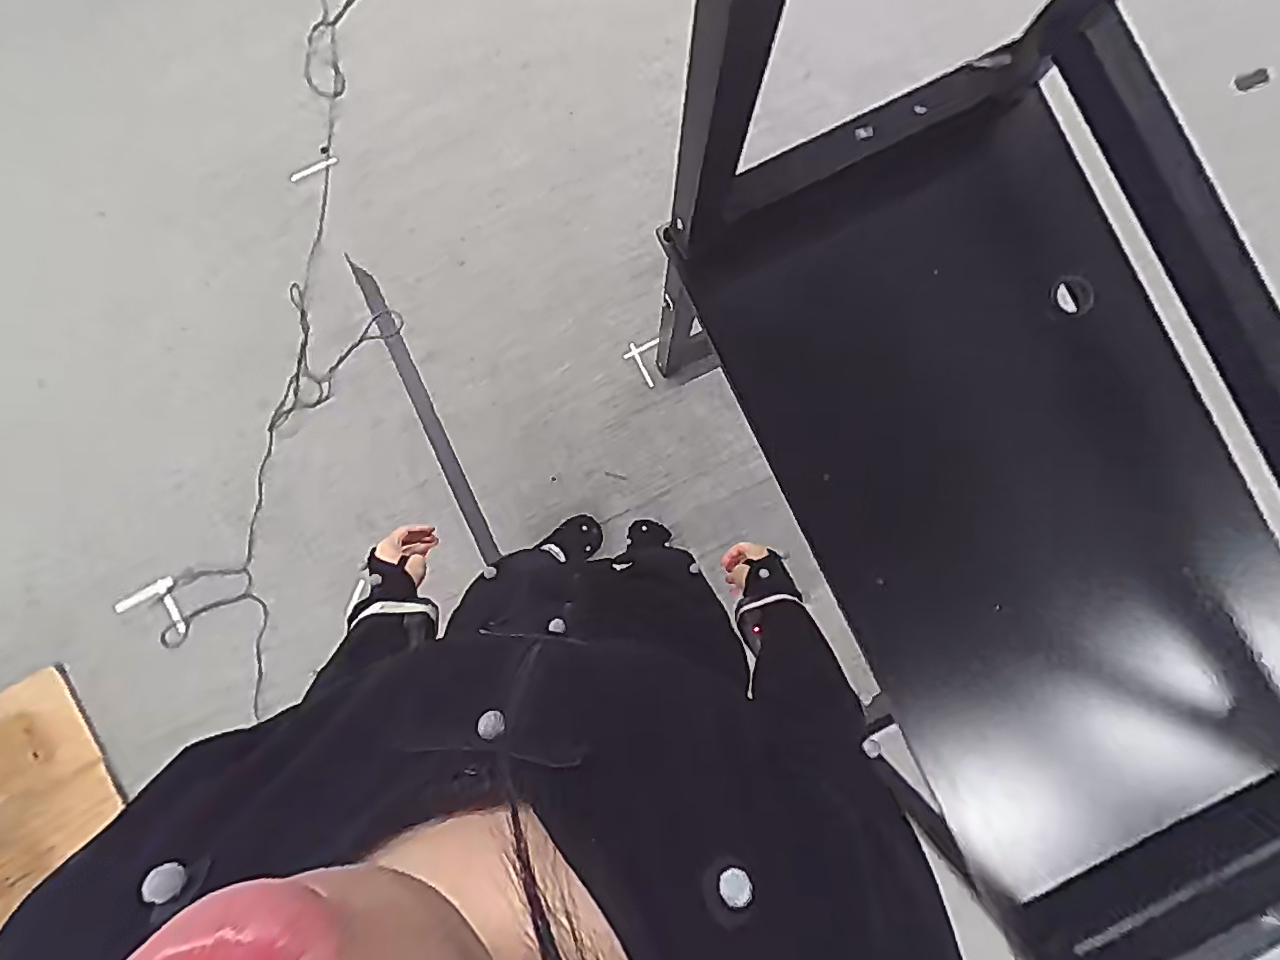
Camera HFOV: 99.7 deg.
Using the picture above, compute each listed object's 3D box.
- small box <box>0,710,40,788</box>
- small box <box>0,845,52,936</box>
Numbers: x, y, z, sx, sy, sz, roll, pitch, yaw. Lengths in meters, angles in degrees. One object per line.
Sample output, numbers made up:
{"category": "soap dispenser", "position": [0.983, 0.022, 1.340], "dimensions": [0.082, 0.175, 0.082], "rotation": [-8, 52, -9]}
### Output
{"category": "small box", "position": [-1.701, 0.720, 1.370], "dimensions": [0.179, 0.176, 0.168], "rotation": [-32, 88, -1]}
{"category": "small box", "position": [-1.665, 1.063, 1.357], "dimensions": [0.168, 0.176, 0.179], "rotation": [-24, 90, -1]}
